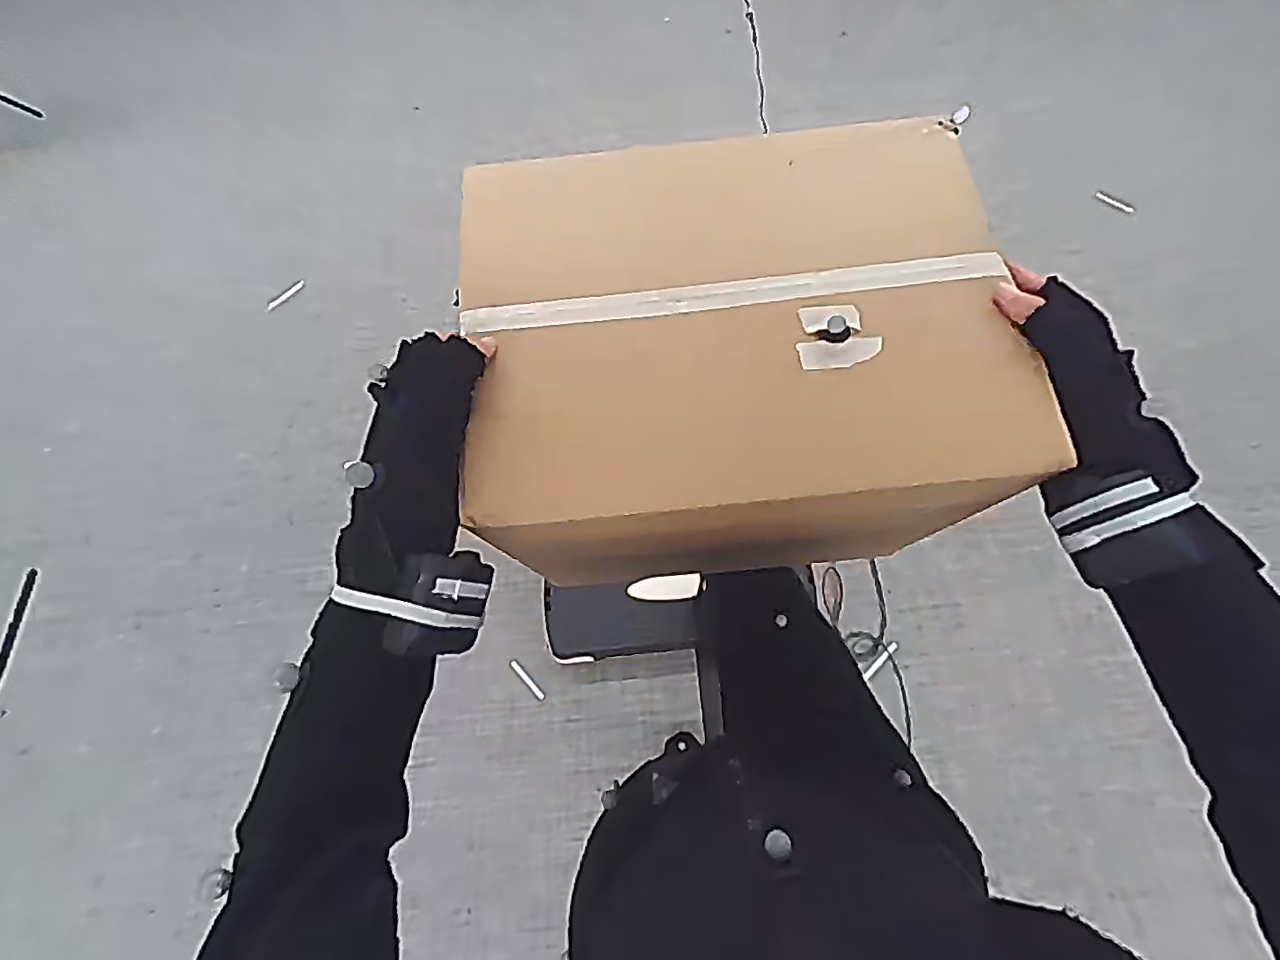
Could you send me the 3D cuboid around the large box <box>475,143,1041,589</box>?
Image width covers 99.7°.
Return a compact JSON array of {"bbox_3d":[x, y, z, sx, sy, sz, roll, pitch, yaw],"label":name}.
[{"bbox_3d":[0.073,-0.081,0.564,0.408,0.320,0.320,-6,71,1],"label":"large box"}]
